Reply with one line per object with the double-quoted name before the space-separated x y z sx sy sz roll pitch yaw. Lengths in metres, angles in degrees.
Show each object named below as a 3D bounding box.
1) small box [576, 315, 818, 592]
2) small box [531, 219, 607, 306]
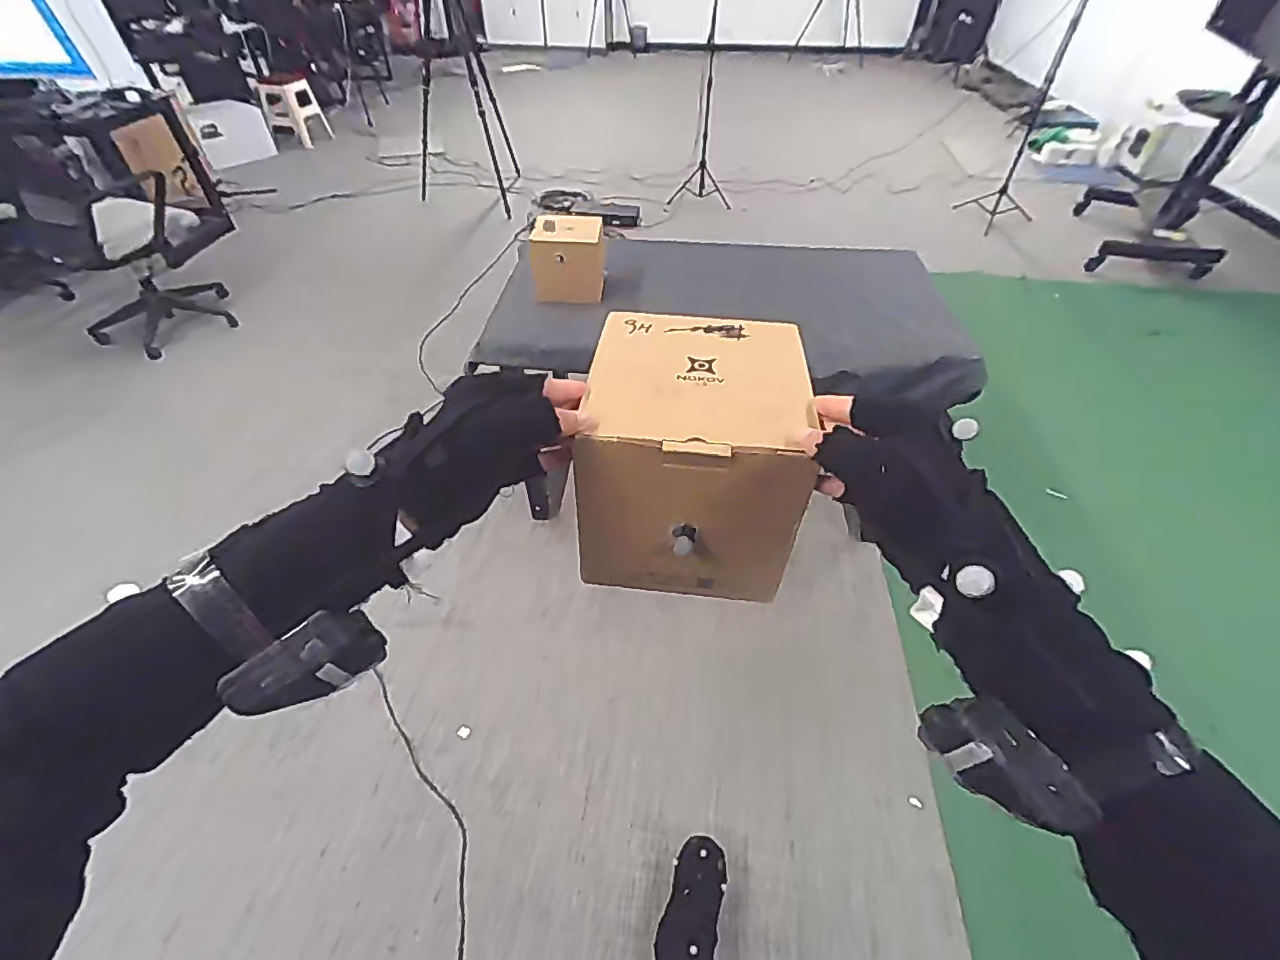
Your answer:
"small box" 0.046 -0.022 0.472 0.168 0.176 0.179 5 45 3
"small box" -0.183 -0.586 1.456 0.179 0.176 0.168 3 46 0
